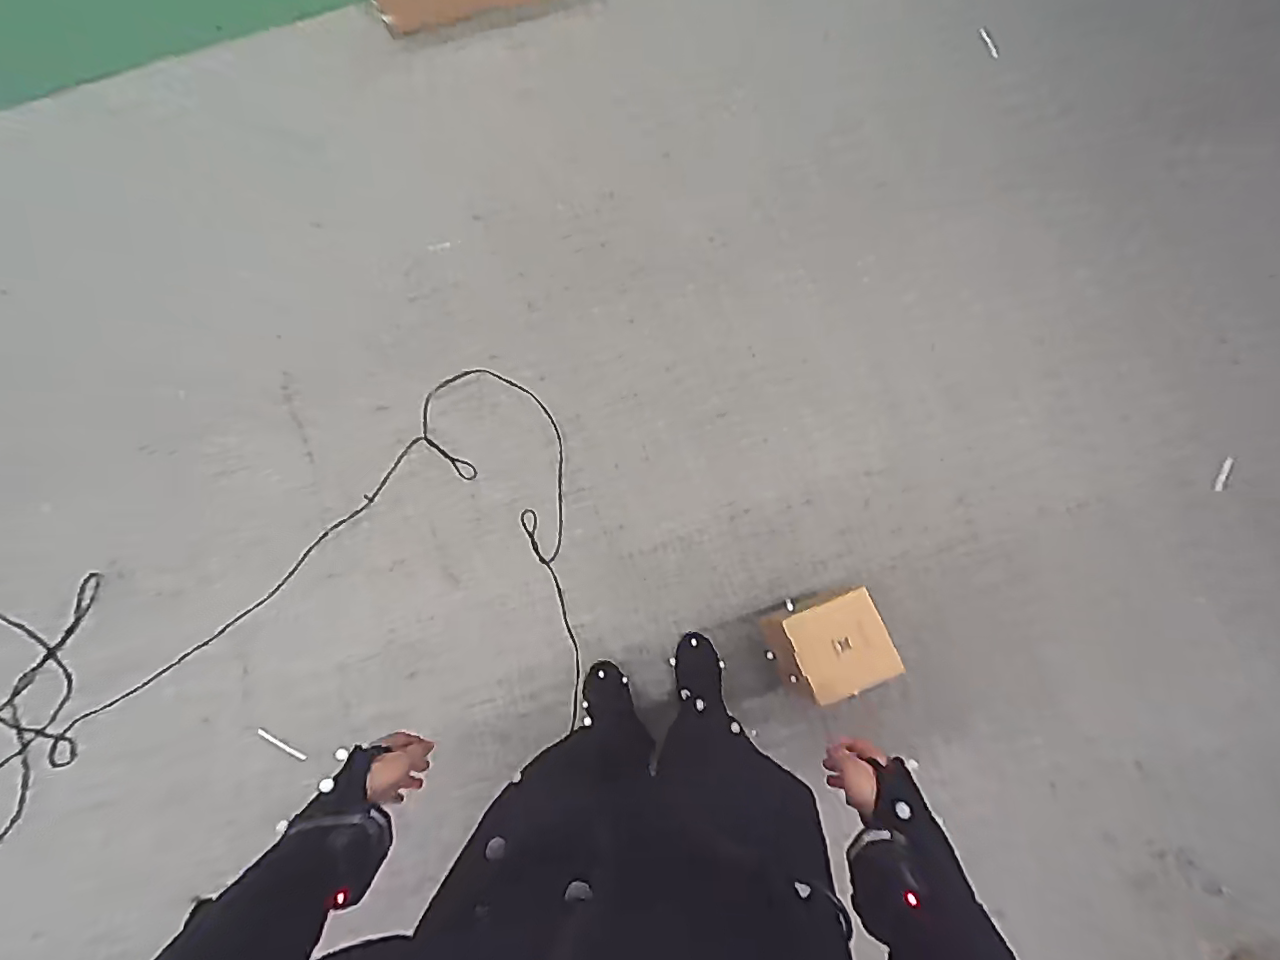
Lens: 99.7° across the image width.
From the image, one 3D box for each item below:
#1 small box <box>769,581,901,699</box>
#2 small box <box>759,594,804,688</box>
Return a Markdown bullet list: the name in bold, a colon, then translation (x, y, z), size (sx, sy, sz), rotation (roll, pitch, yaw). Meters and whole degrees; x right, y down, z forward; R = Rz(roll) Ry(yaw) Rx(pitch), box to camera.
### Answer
- **small box**: translation (0.373, 0.313, 1.081), size (0.179, 0.176, 0.168), rotation (-23, 79, -4)
- **small box**: translation (0.385, 0.356, 1.238), size (0.179, 0.176, 0.168), rotation (-20, 78, -1)
